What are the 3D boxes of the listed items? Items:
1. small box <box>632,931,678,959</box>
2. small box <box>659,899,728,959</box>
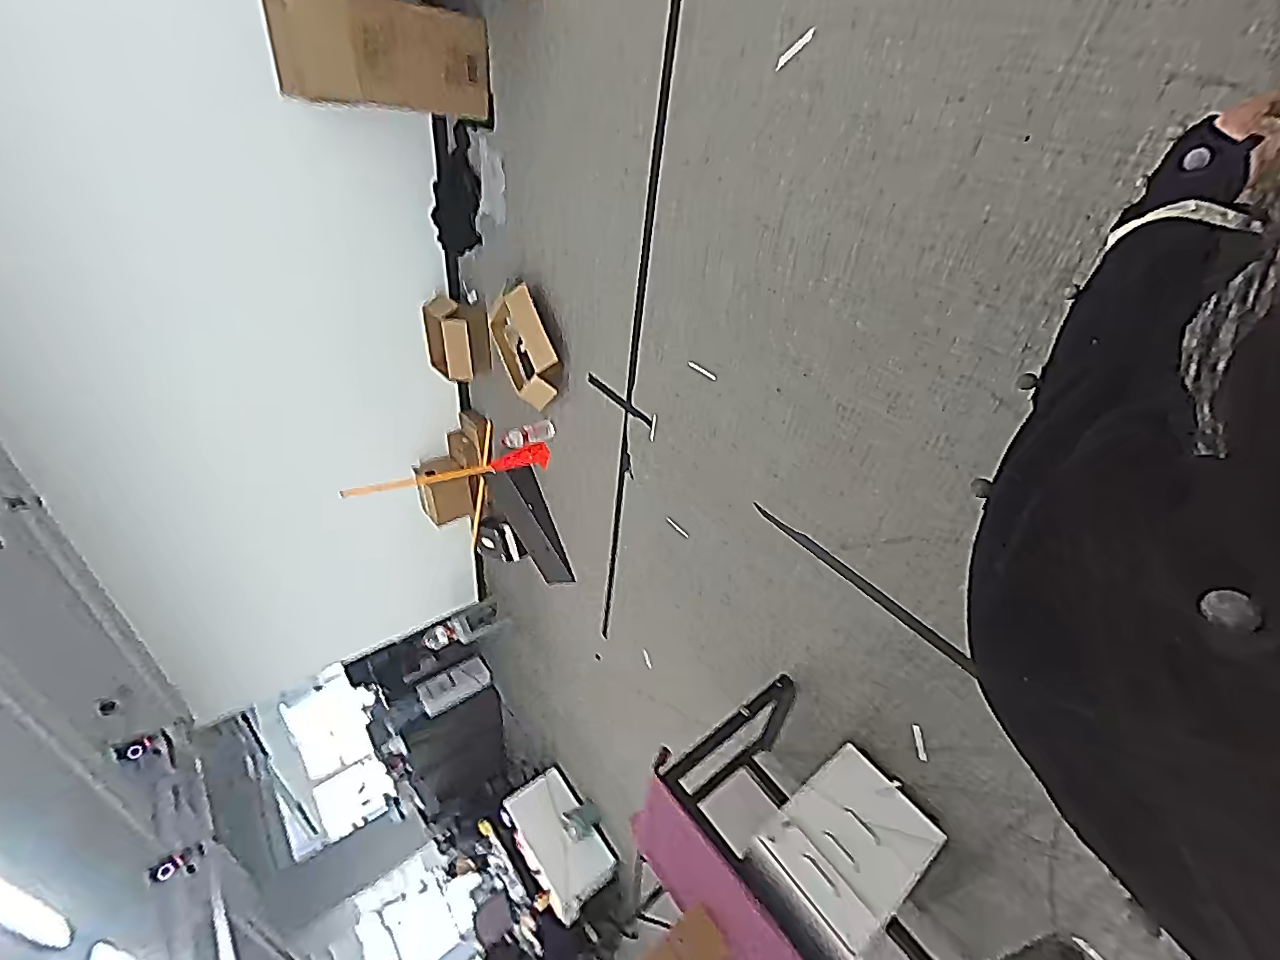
[{"bbox_3d":[0.050,1.665,1.797,0.179,0.176,0.168,44,138,31],"label":"small box"},{"bbox_3d":[0.177,1.614,1.889,0.179,0.176,0.168,43,138,32],"label":"small box"}]
